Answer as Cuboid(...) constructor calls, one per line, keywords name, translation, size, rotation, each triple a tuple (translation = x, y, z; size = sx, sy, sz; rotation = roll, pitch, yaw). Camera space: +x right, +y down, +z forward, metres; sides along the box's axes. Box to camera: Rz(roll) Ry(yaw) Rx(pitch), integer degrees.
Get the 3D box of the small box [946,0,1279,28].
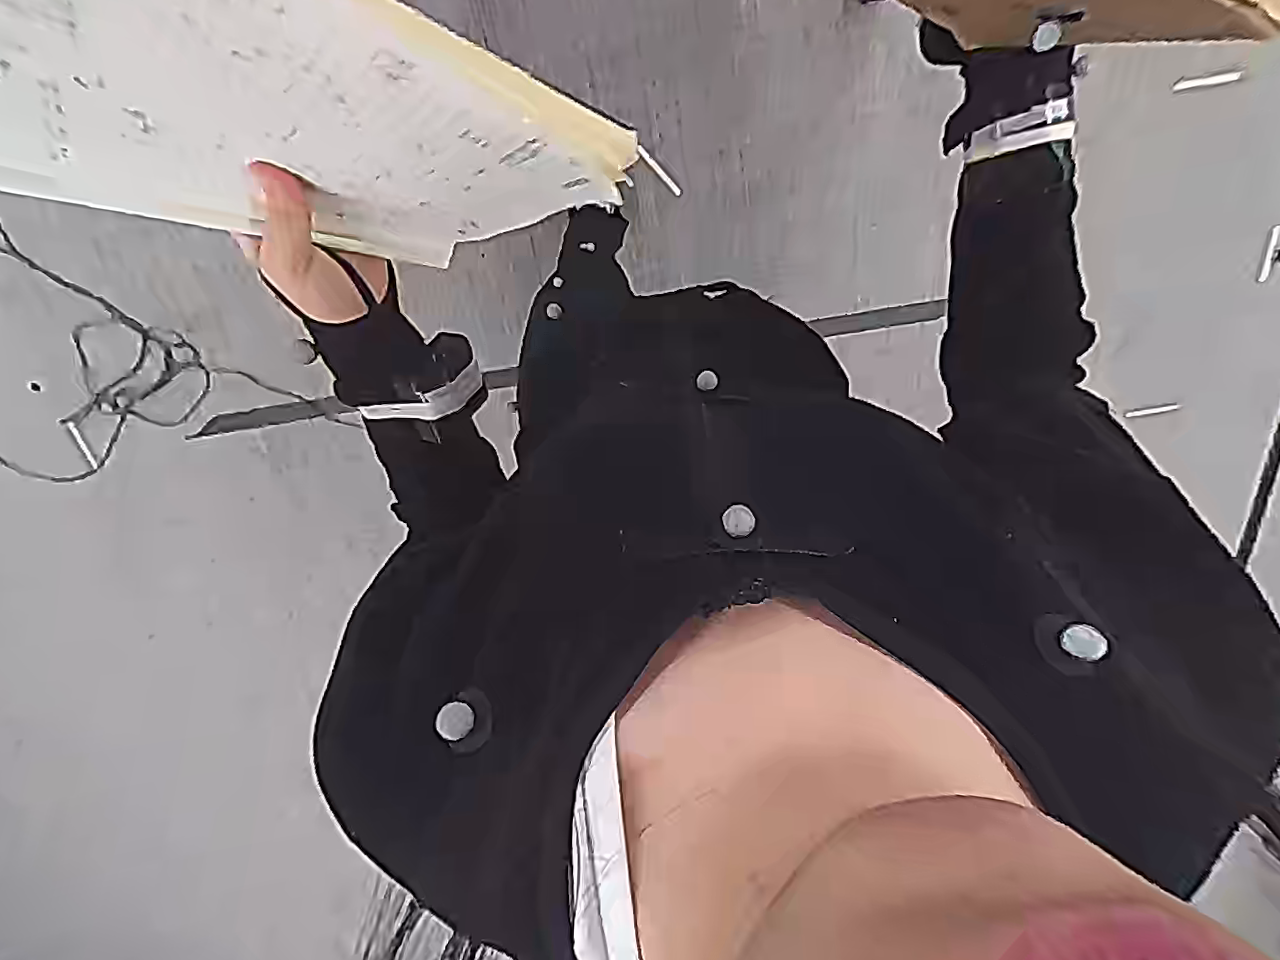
Cuboid(name="small box", translation=(0.197, -0.307, 0.207), size=(0.168, 0.176, 0.179), rotation=(2, 125, -25))
